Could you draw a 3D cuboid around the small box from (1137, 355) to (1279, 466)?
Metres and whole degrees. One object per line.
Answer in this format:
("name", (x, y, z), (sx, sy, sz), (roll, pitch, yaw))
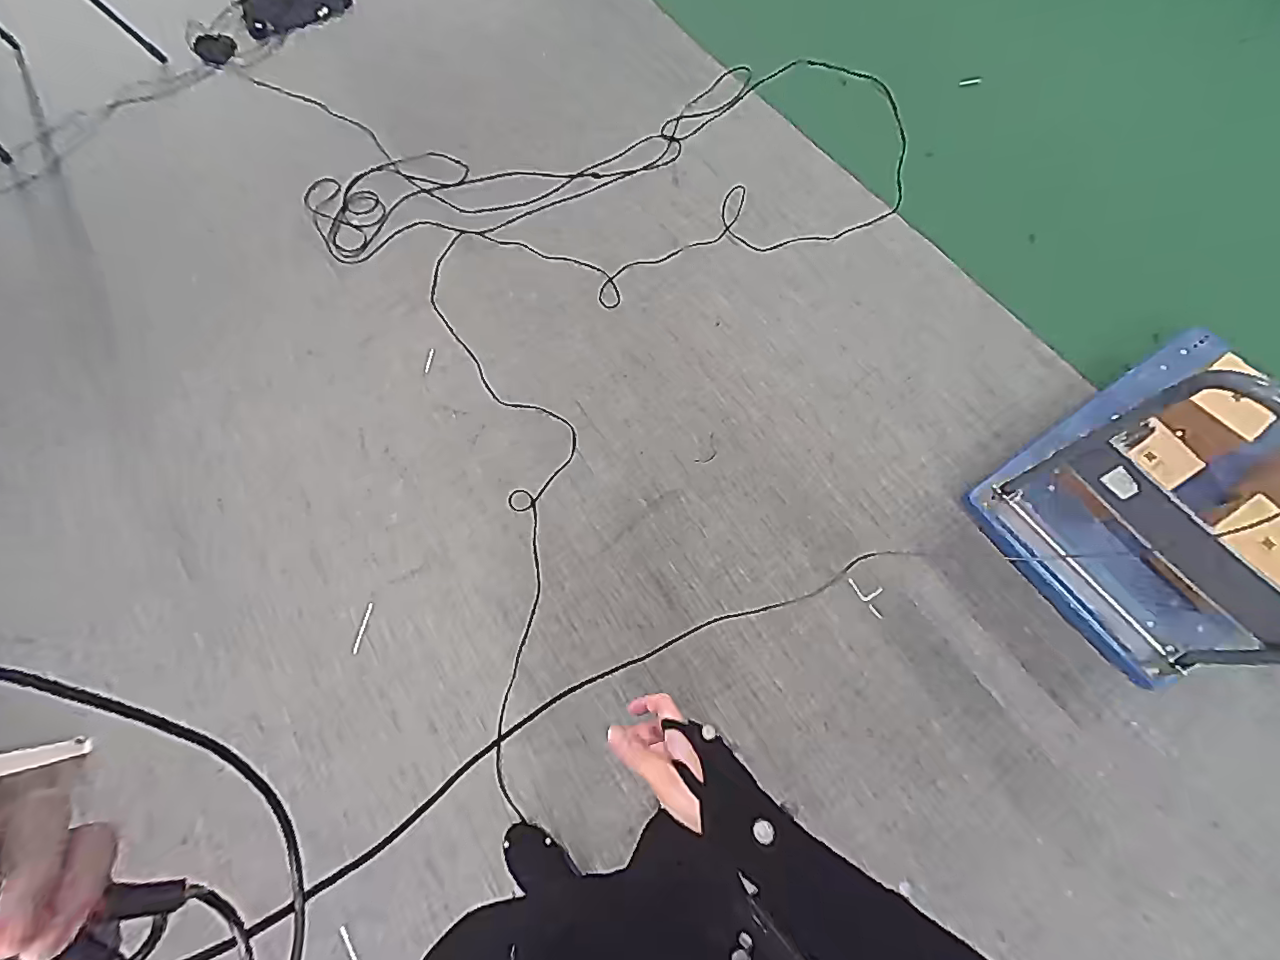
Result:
("small box", (1.381, -0.161, 1.317), (0.179, 0.176, 0.168), (-36, 72, -9))

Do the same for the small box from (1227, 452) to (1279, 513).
("small box", (1.534, 0.022, 1.236), (0.179, 0.176, 0.168), (-37, 70, -8))

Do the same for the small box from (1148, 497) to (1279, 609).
("small box", (1.309, 0.168, 1.201), (0.179, 0.176, 0.168), (-32, 71, -7))
